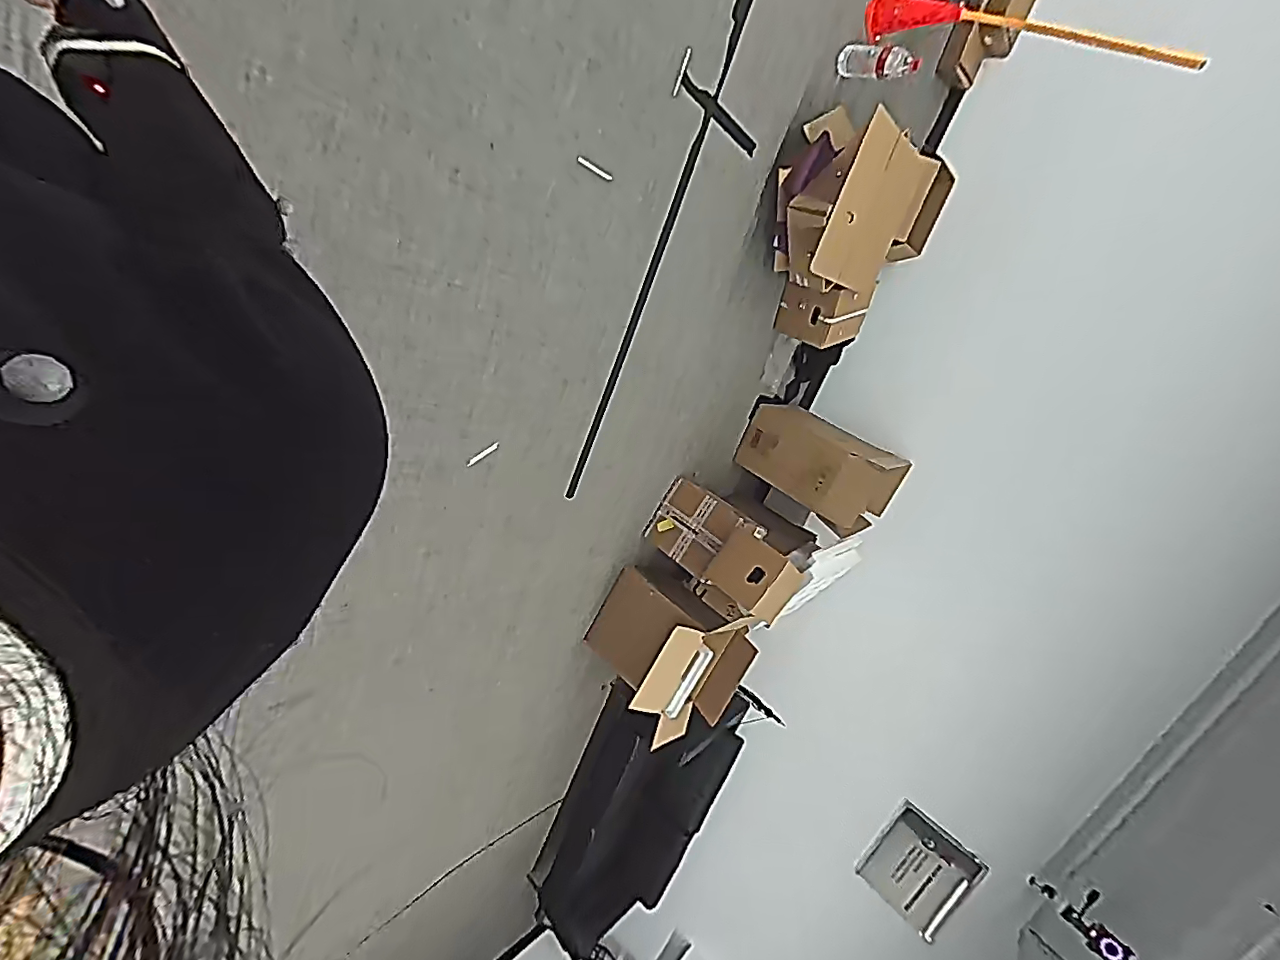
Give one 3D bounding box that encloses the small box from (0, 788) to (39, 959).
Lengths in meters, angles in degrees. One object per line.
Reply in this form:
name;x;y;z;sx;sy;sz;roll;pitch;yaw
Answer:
small box;-0.795;0.481;0.597;0.168;0.176;0.179;-4;122;-51
